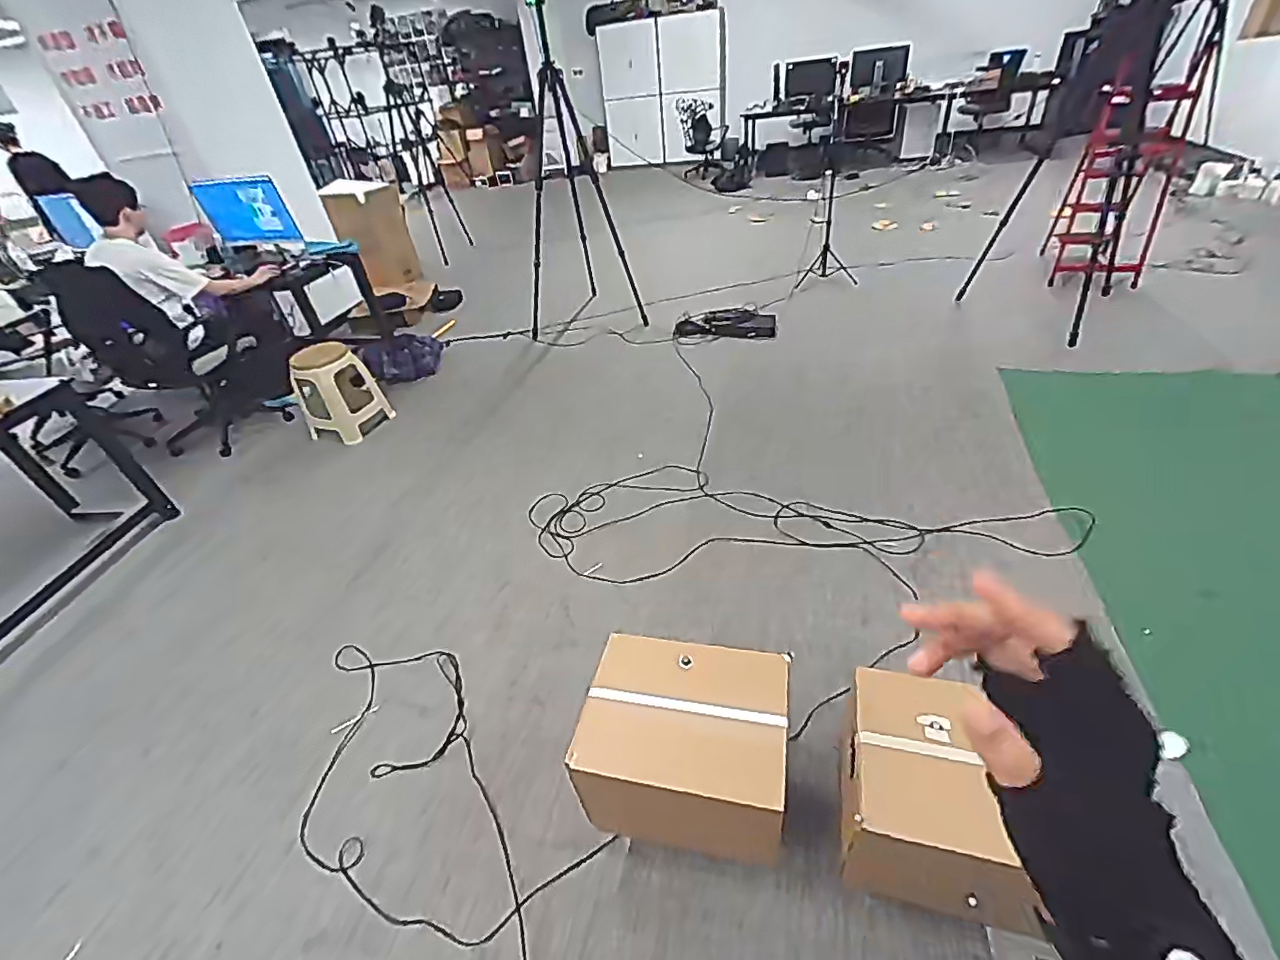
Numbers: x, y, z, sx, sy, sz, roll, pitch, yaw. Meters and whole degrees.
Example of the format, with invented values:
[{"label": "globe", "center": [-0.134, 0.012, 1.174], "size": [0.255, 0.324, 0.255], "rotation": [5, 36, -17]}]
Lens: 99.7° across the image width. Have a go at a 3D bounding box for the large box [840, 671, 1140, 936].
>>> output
[{"label": "large box", "center": [0.622, 0.623, 1.064], "size": [0.408, 0.320, 0.320], "rotation": [4, 40, 17]}]
